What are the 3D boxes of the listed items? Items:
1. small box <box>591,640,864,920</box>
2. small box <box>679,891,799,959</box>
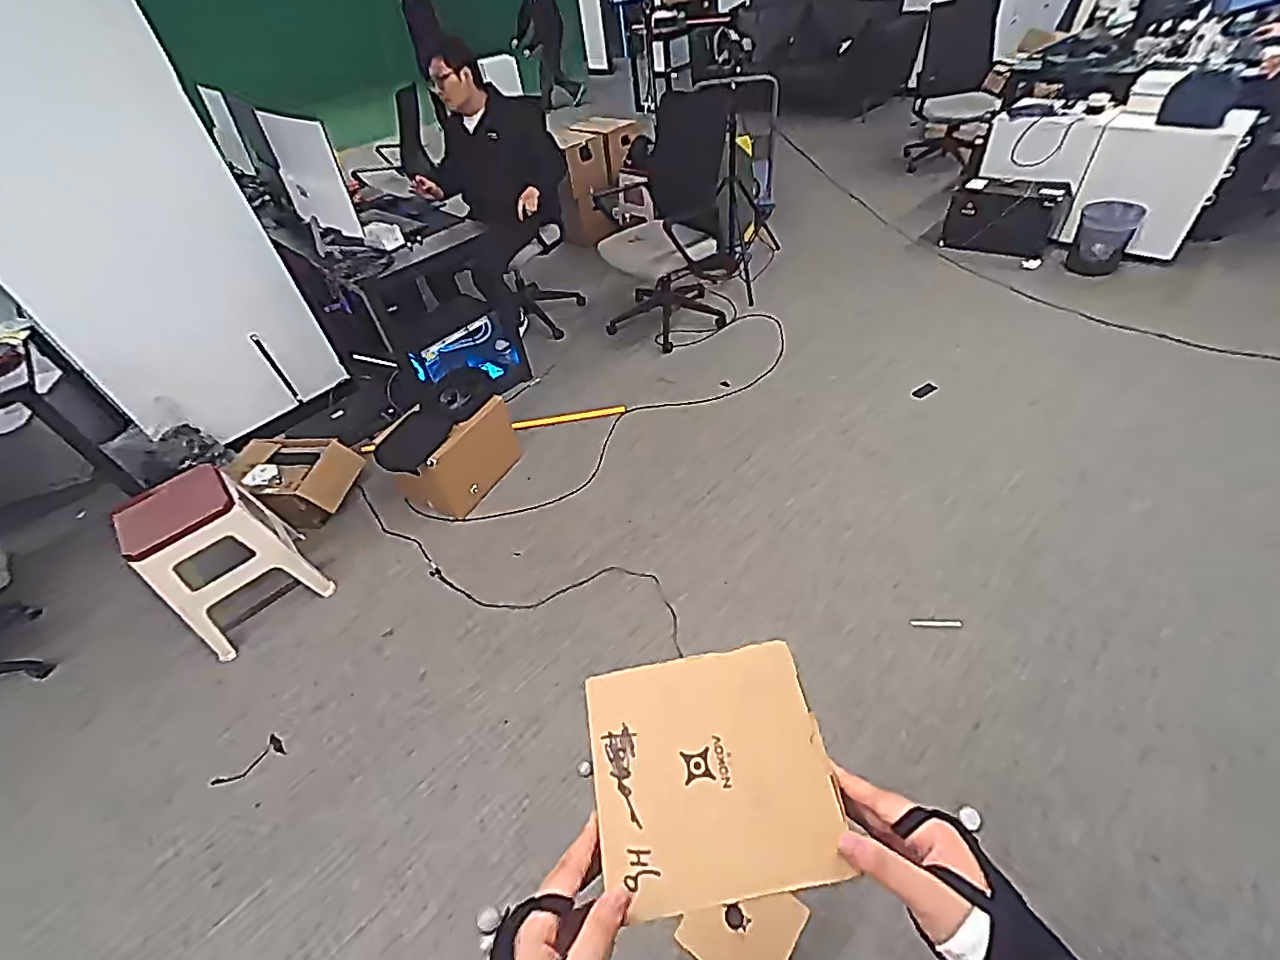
[{"bbox_3d":[0.062,0.262,0.474,0.179,0.176,0.168,-11,52,-2],"label":"small box"},{"bbox_3d":[0.195,0.921,1.087,0.168,0.176,0.179,29,57,32],"label":"small box"}]
